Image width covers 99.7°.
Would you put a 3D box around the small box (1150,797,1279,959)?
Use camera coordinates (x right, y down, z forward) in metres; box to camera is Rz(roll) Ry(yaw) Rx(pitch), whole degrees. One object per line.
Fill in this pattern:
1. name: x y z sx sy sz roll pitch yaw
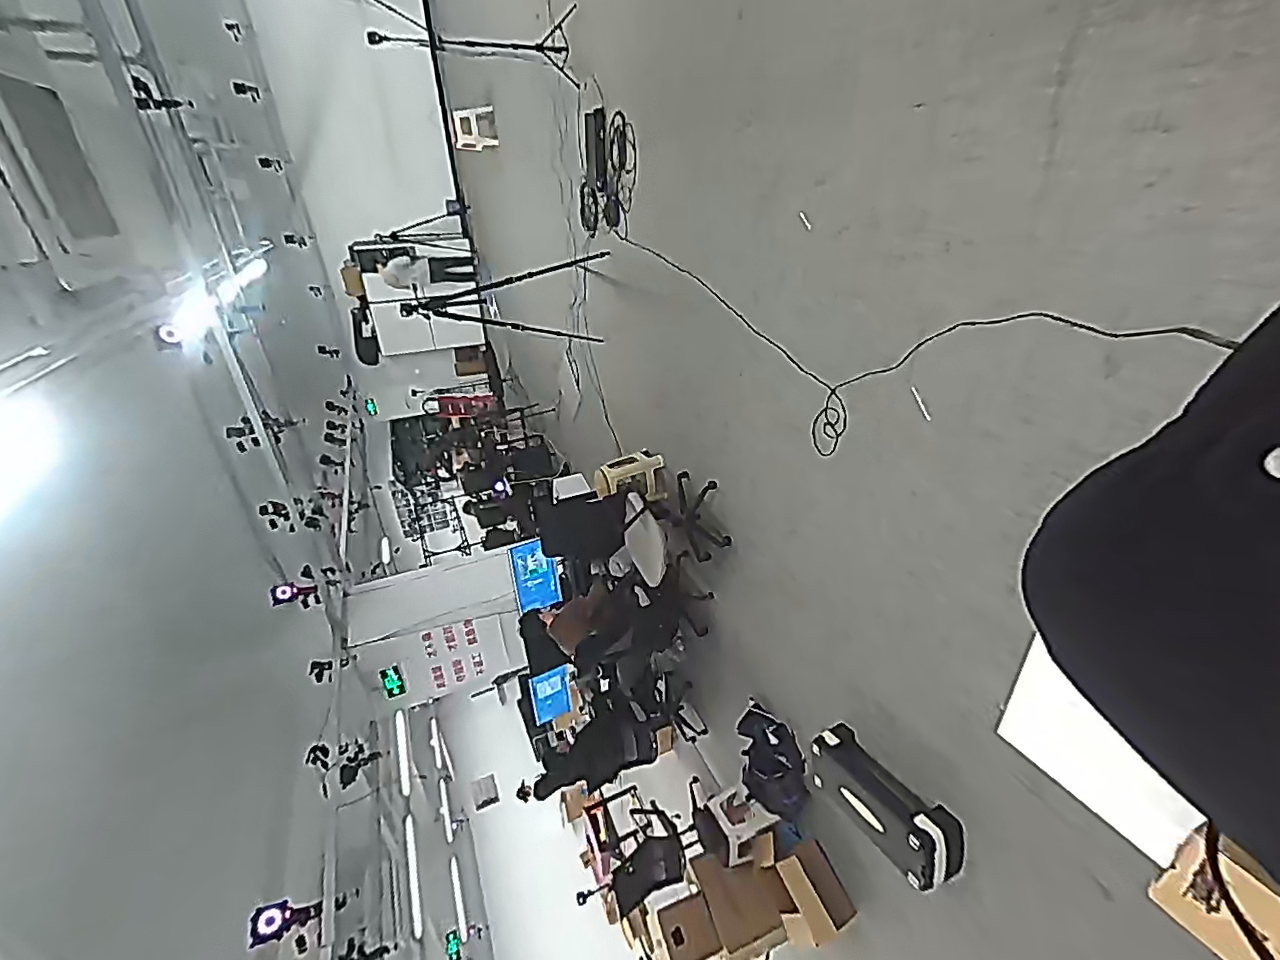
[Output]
1. small box: 0.874 0.571 0.737 0.179 0.176 0.168 -137 38 -55
